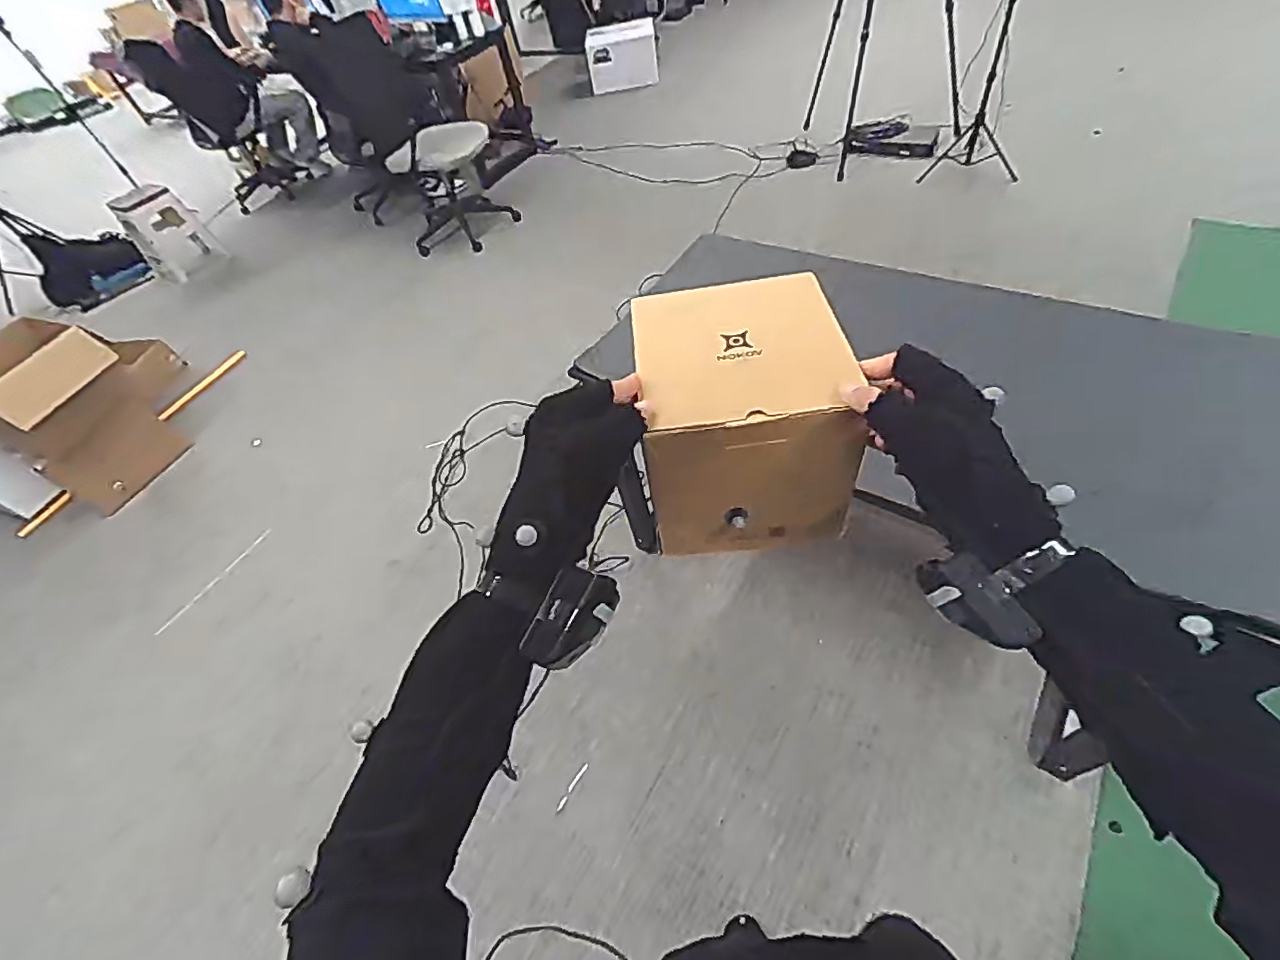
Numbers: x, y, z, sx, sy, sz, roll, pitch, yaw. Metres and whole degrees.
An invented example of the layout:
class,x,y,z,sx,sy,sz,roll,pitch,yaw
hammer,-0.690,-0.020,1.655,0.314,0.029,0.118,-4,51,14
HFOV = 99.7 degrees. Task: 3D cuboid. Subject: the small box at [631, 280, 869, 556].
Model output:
class,x,y,z,sx,sy,sz,roll,pitch,yaw
small box,0.084,-0.053,0.492,0.168,0.176,0.179,-7,50,3
